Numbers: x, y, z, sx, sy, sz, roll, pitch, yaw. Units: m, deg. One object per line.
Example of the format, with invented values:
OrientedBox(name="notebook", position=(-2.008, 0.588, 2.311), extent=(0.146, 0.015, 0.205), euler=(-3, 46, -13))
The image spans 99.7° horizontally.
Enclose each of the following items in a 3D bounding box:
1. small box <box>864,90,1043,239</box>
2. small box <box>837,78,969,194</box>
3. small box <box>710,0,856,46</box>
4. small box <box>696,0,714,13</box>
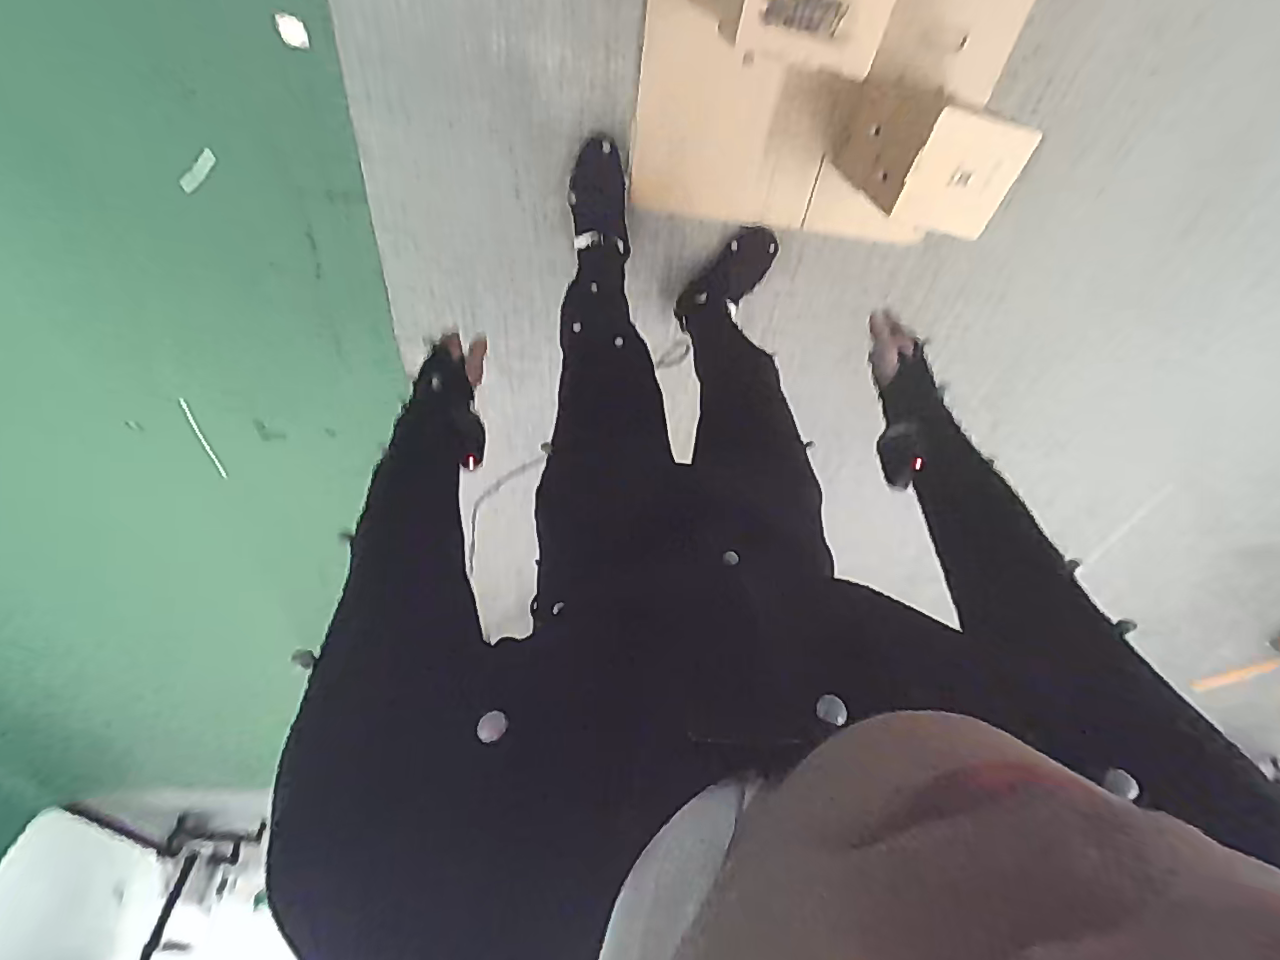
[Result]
OrientedBox(name="small box", position=(0.516, -0.543, 0.925), extent=(0.179, 0.176, 0.168), euler=(9, 134, -9))
OrientedBox(name="small box", position=(0.514, -0.654, 1.045), extent=(0.179, 0.176, 0.168), euler=(7, 133, -8))
OrientedBox(name="small box", position=(0.205, -0.725, 0.740), extent=(0.179, 0.176, 0.168), euler=(6, 134, -6))
OrientedBox(name="small box", position=(0.195, -0.838, 0.855), extent=(0.179, 0.176, 0.168), euler=(6, 133, -7))
